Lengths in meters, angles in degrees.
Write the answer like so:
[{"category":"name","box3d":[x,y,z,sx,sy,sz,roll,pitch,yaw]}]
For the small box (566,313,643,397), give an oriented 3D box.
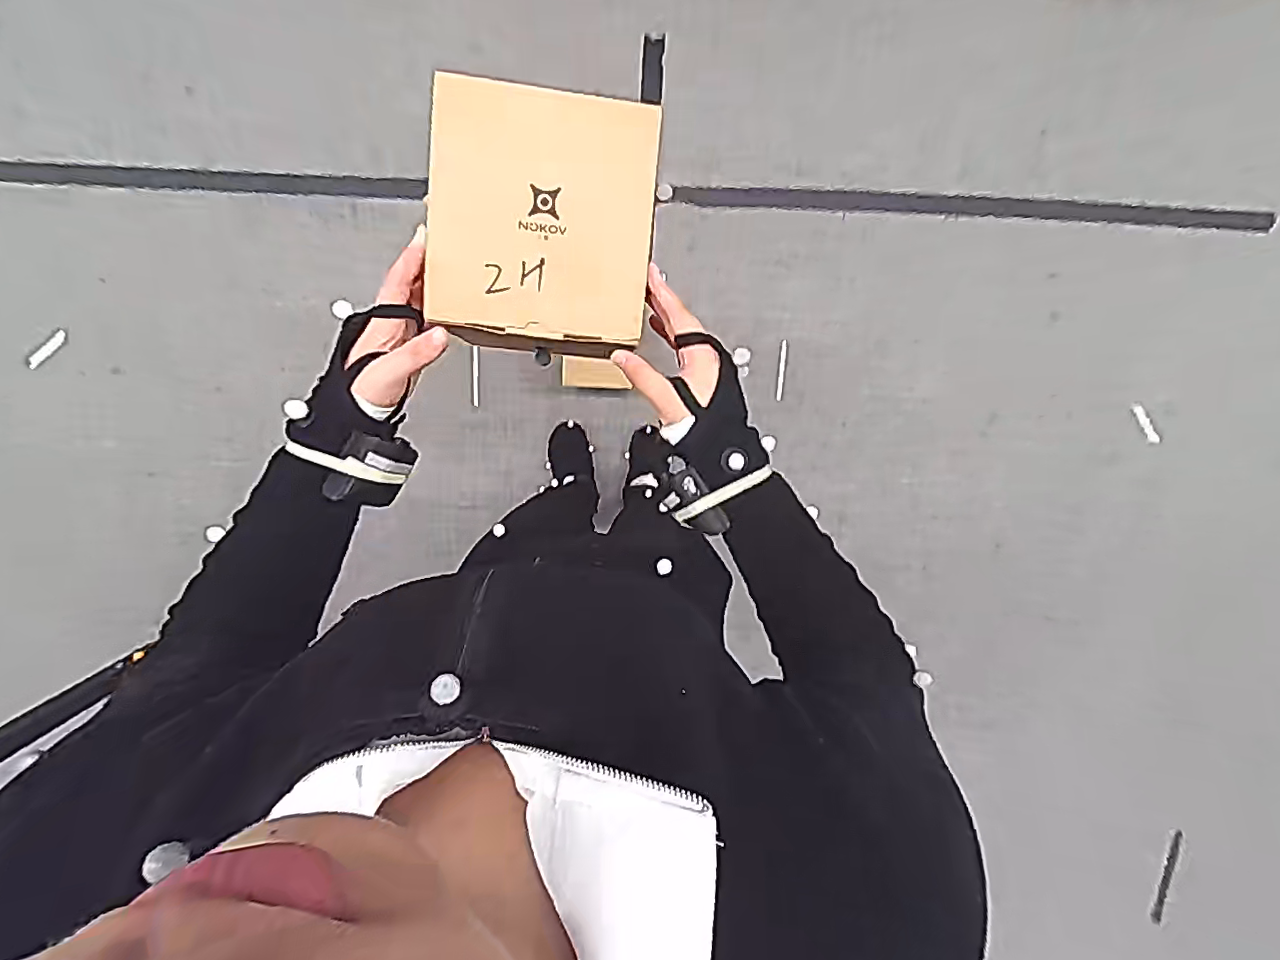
[{"category":"small box","box3d":[-0.081,-0.286,1.244,0.168,0.176,0.179,1,103,-1]}]
